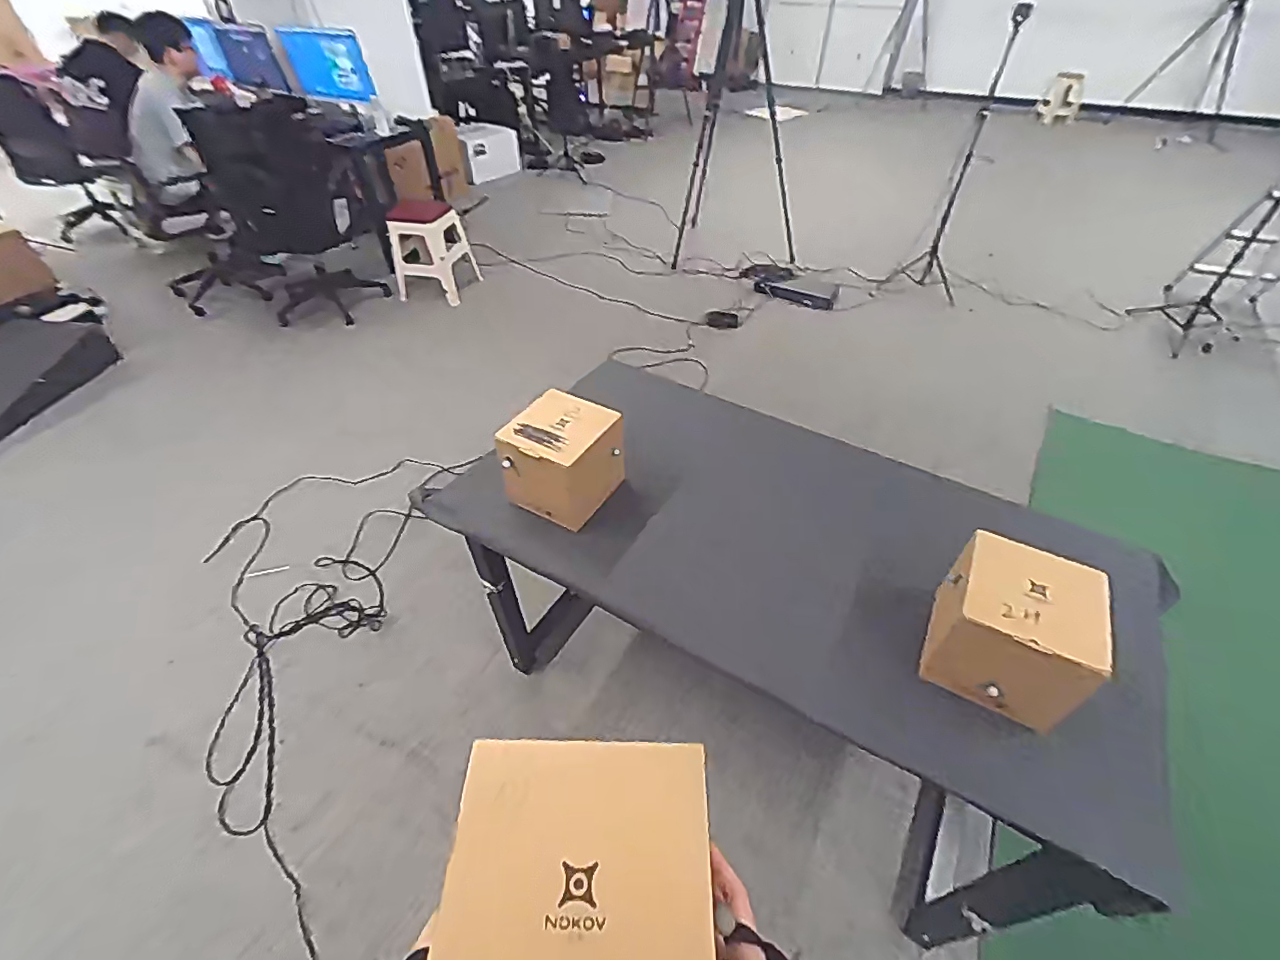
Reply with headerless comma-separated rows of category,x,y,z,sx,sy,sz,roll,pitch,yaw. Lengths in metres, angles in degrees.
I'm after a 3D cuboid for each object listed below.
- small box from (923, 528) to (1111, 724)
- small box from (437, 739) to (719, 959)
small box,0.528,0.206,0.773,0.168,0.176,0.179,21,48,23
small box,-0.036,0.308,0.393,0.168,0.176,0.179,1,48,1
